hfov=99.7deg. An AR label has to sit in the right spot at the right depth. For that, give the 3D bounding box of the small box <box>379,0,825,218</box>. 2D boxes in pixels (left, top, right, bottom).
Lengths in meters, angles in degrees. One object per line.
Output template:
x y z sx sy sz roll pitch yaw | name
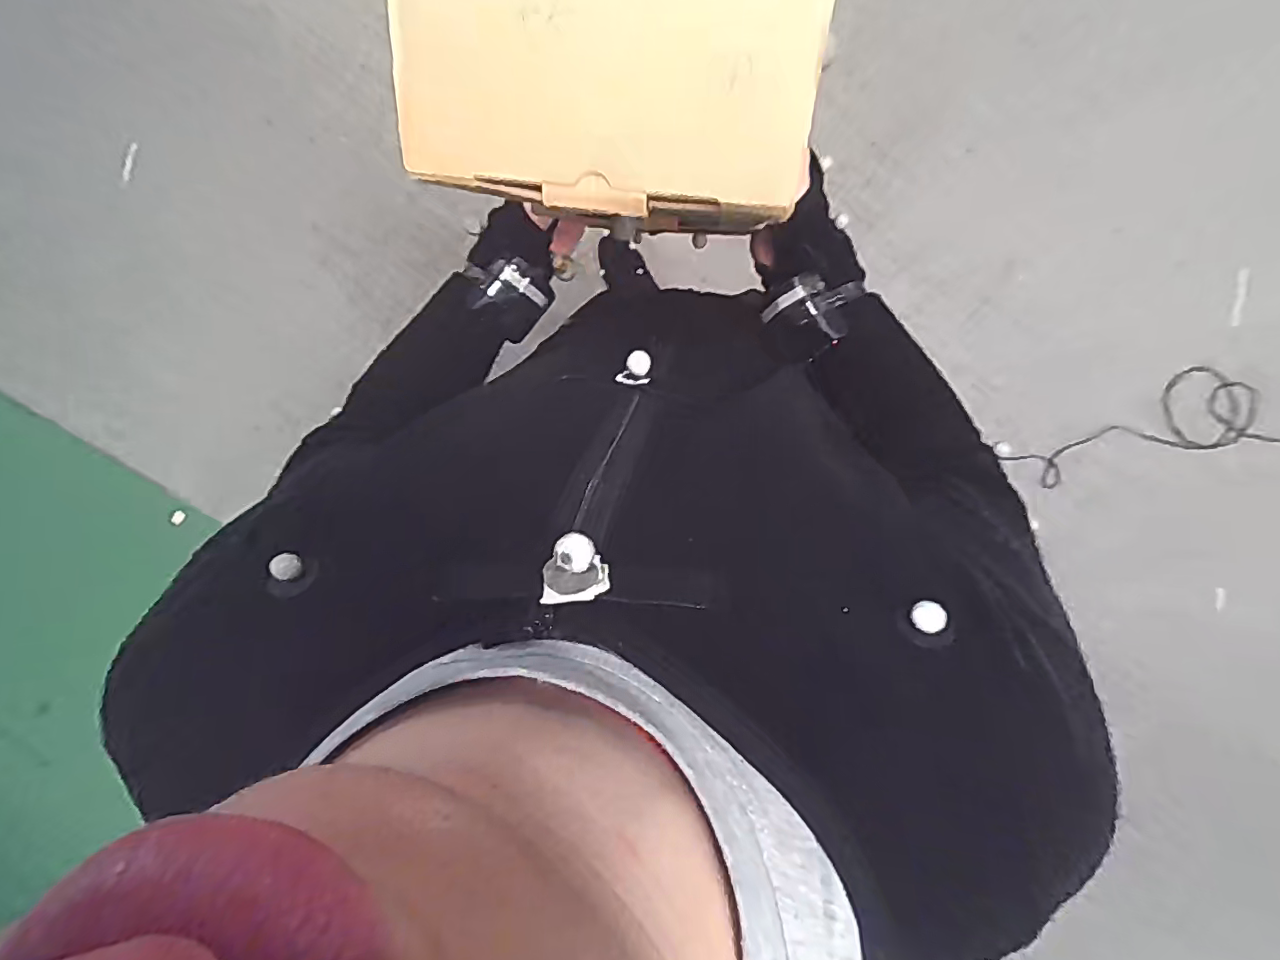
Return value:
-0.002 -0.229 0.253 0.168 0.176 0.179 8 117 4 | small box
